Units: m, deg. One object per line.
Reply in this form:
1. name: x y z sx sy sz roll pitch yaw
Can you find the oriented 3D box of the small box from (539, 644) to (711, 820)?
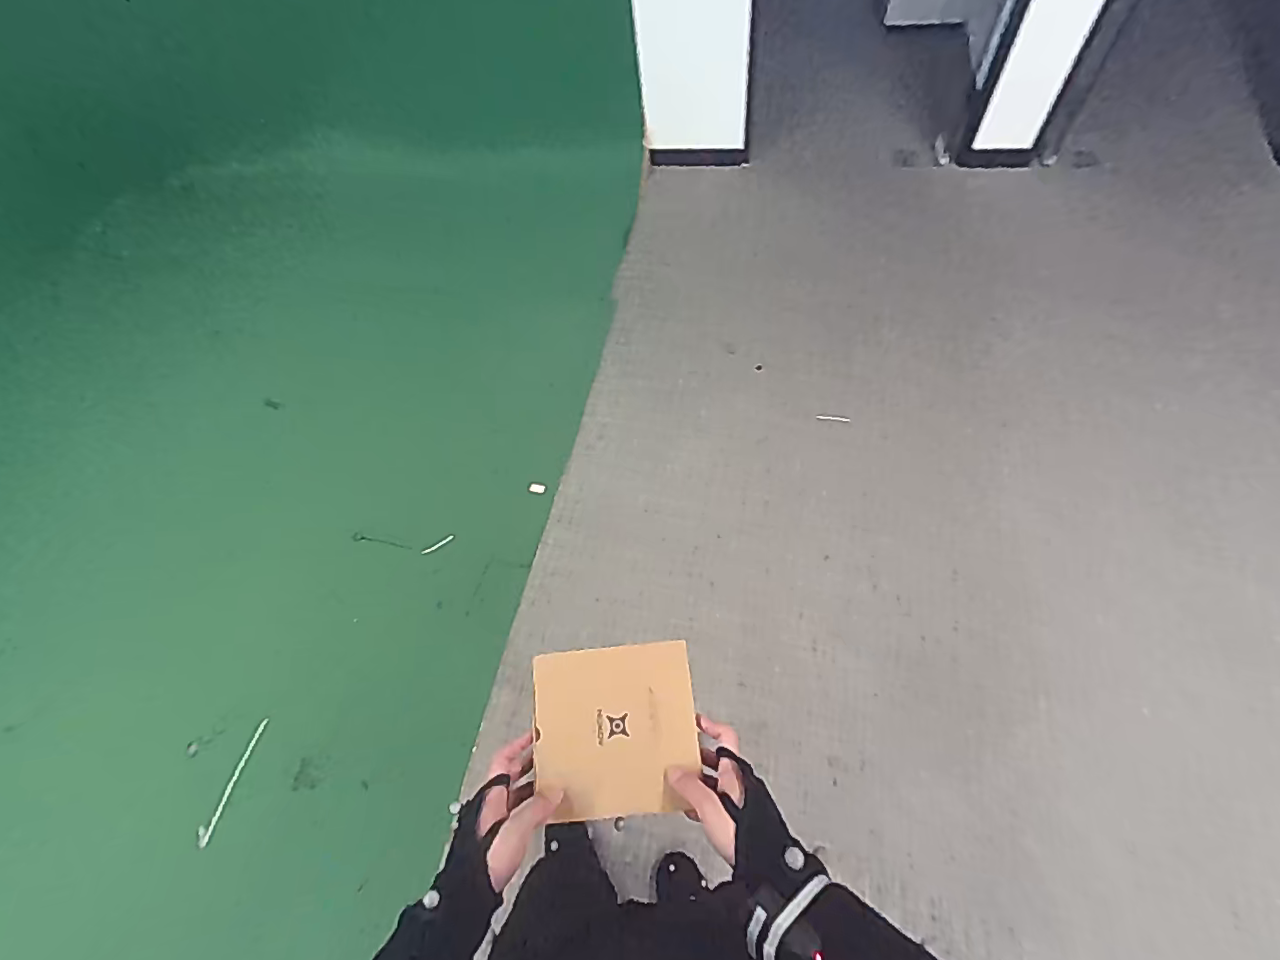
1. small box: -0.014 0.300 0.644 0.179 0.176 0.168 -5 63 1
